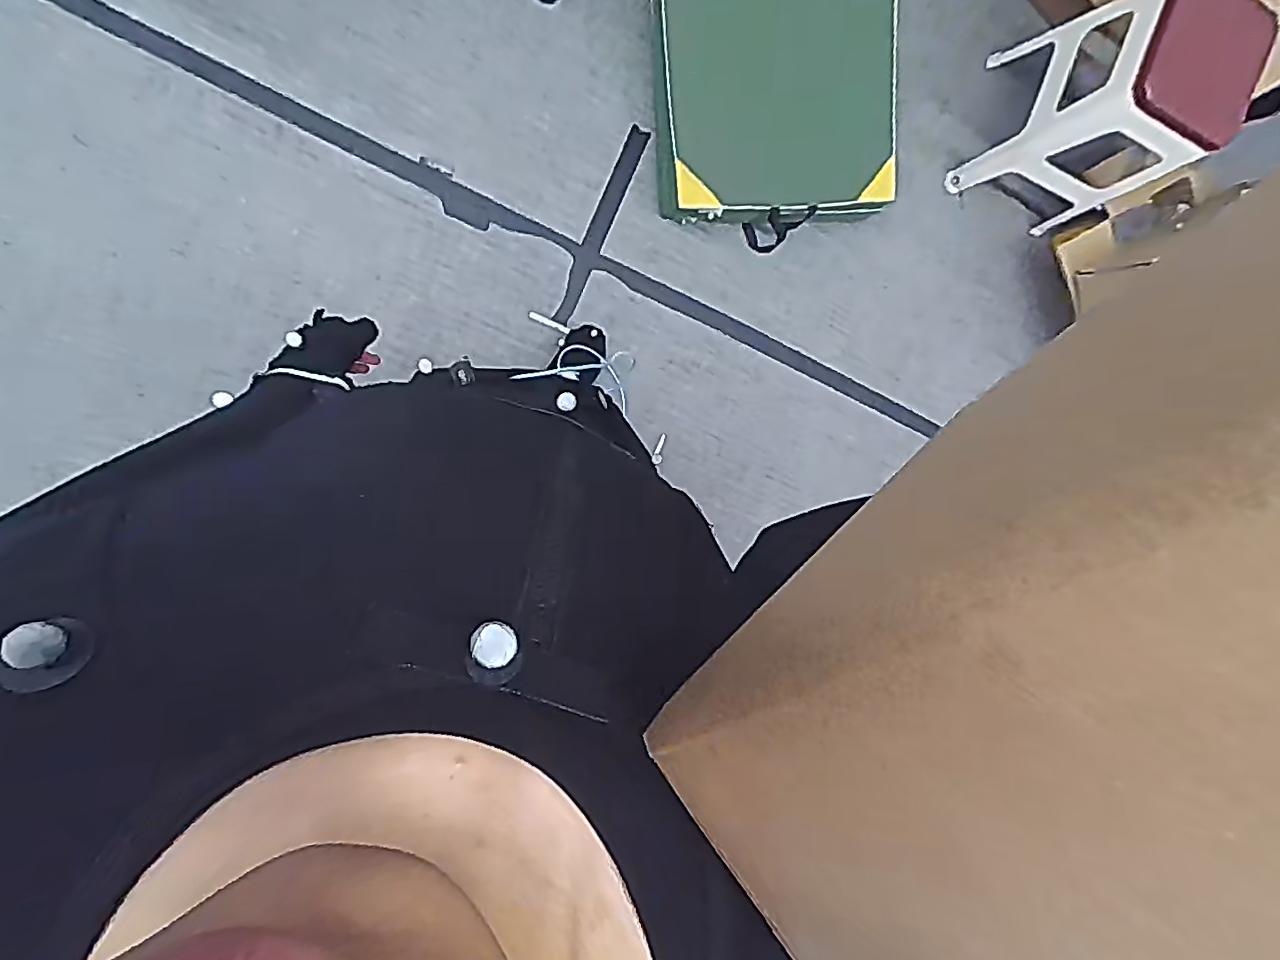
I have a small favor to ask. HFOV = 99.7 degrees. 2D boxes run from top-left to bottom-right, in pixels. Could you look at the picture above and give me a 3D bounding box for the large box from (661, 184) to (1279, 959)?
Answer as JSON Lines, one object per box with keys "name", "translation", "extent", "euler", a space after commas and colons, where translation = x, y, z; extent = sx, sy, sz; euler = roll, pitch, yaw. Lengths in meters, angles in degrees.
{"name": "large box", "translation": [0.291, 0.045, 0.176], "extent": [0.408, 0.320, 0.320], "euler": [-28, 75, -39]}
